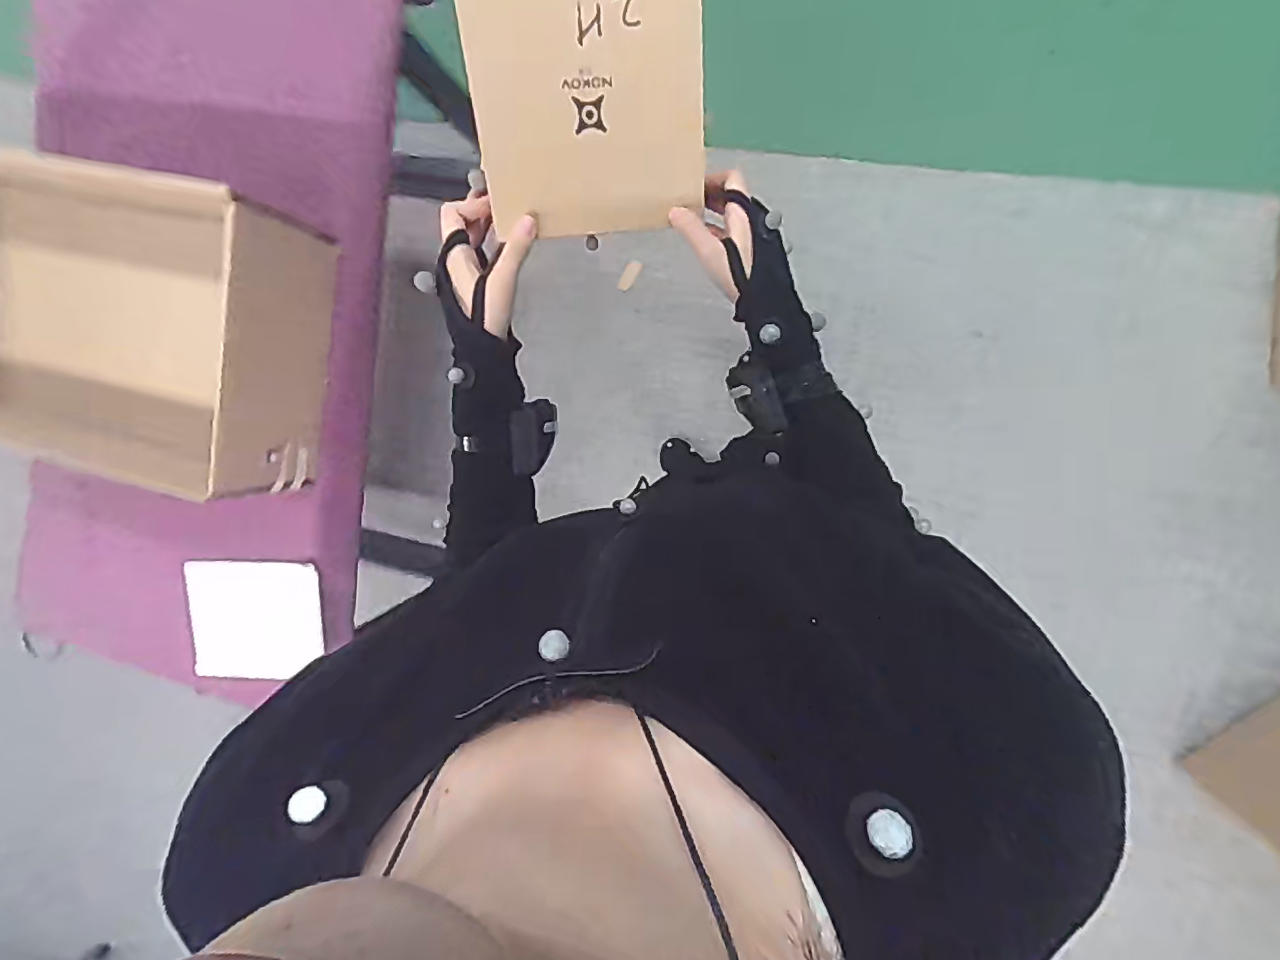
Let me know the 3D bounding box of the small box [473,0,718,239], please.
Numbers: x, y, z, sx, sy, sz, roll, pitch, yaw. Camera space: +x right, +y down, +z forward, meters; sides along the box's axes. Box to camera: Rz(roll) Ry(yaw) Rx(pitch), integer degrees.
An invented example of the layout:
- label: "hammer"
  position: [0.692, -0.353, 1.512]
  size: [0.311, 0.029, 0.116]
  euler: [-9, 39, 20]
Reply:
- label: "small box"
  position: [-0.035, -0.304, 0.454]
  size: [0.168, 0.176, 0.179]
  euler: [-5, 115, -5]

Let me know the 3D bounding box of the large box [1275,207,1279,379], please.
- label: "large box"
  position: [1.528, -0.410, 1.021]
  size: [0.320, 0.320, 0.408]
  euler: [-3, 95, 11]
